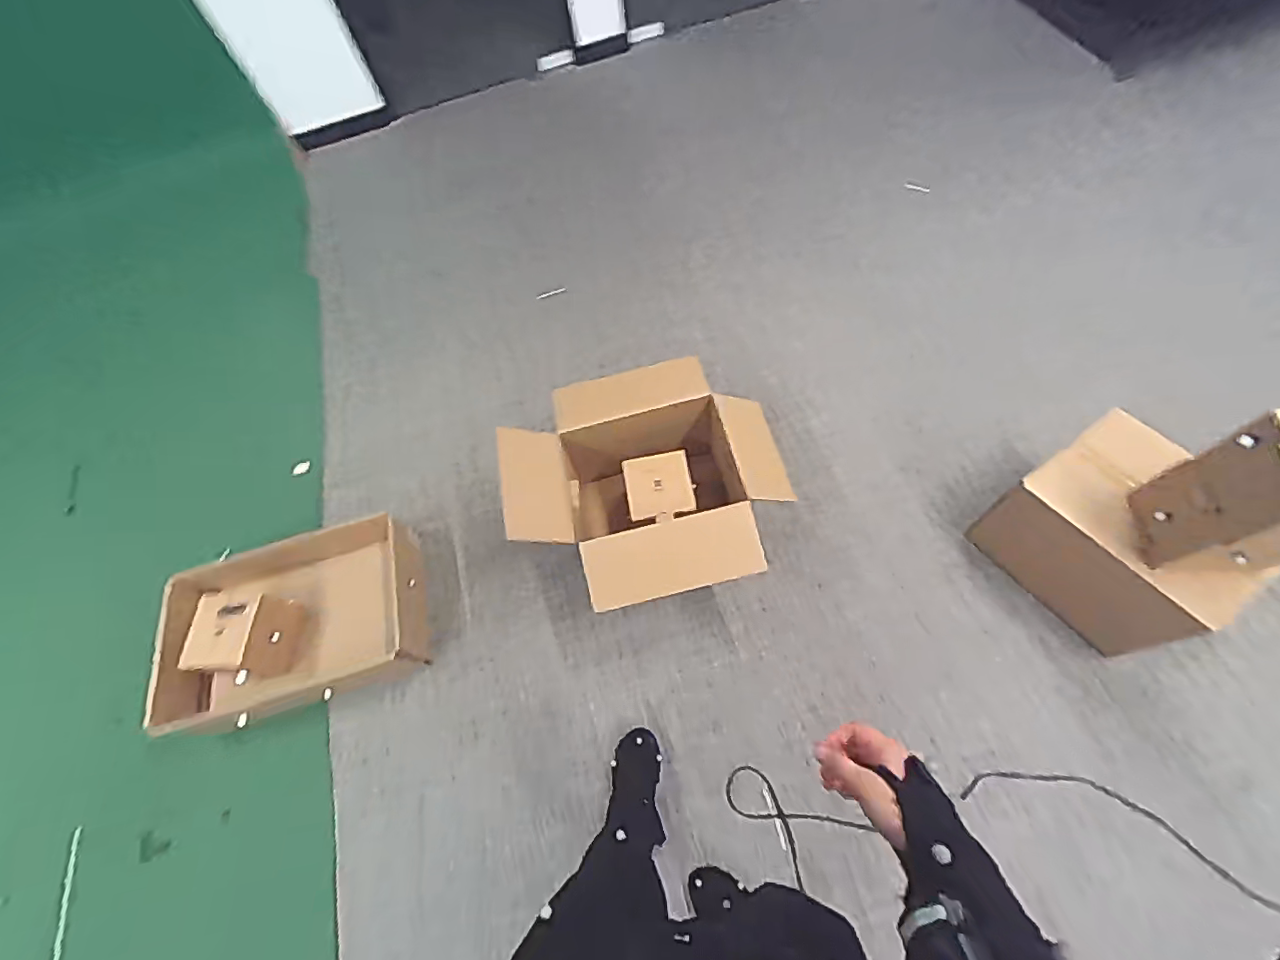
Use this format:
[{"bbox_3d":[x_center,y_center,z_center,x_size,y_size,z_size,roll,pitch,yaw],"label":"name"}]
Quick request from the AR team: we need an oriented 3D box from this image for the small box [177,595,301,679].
[{"bbox_3d":[-1.009,0.404,1.381,0.168,0.176,0.179,-4,62,5],"label":"small box"}]

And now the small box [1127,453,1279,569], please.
[{"bbox_3d":[1.060,0.062,1.003,0.179,0.176,0.168,0,64,10],"label":"small box"}]
